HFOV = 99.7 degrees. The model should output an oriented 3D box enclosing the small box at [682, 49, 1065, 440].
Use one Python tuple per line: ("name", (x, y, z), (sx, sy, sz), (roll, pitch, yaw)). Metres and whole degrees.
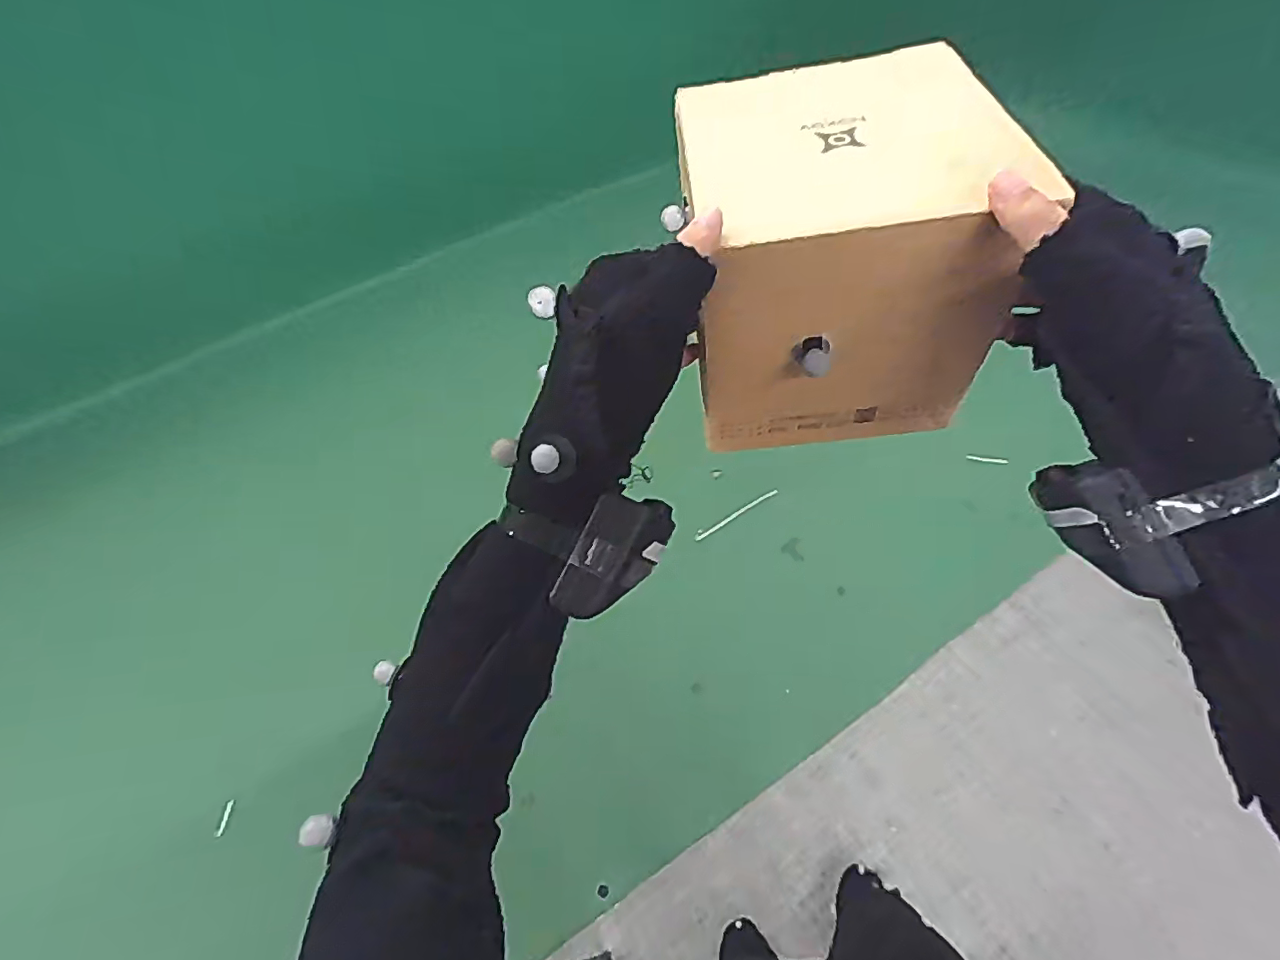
("small box", (0.121, -0.140, 0.360), (0.168, 0.176, 0.179), (-6, 55, 6))
